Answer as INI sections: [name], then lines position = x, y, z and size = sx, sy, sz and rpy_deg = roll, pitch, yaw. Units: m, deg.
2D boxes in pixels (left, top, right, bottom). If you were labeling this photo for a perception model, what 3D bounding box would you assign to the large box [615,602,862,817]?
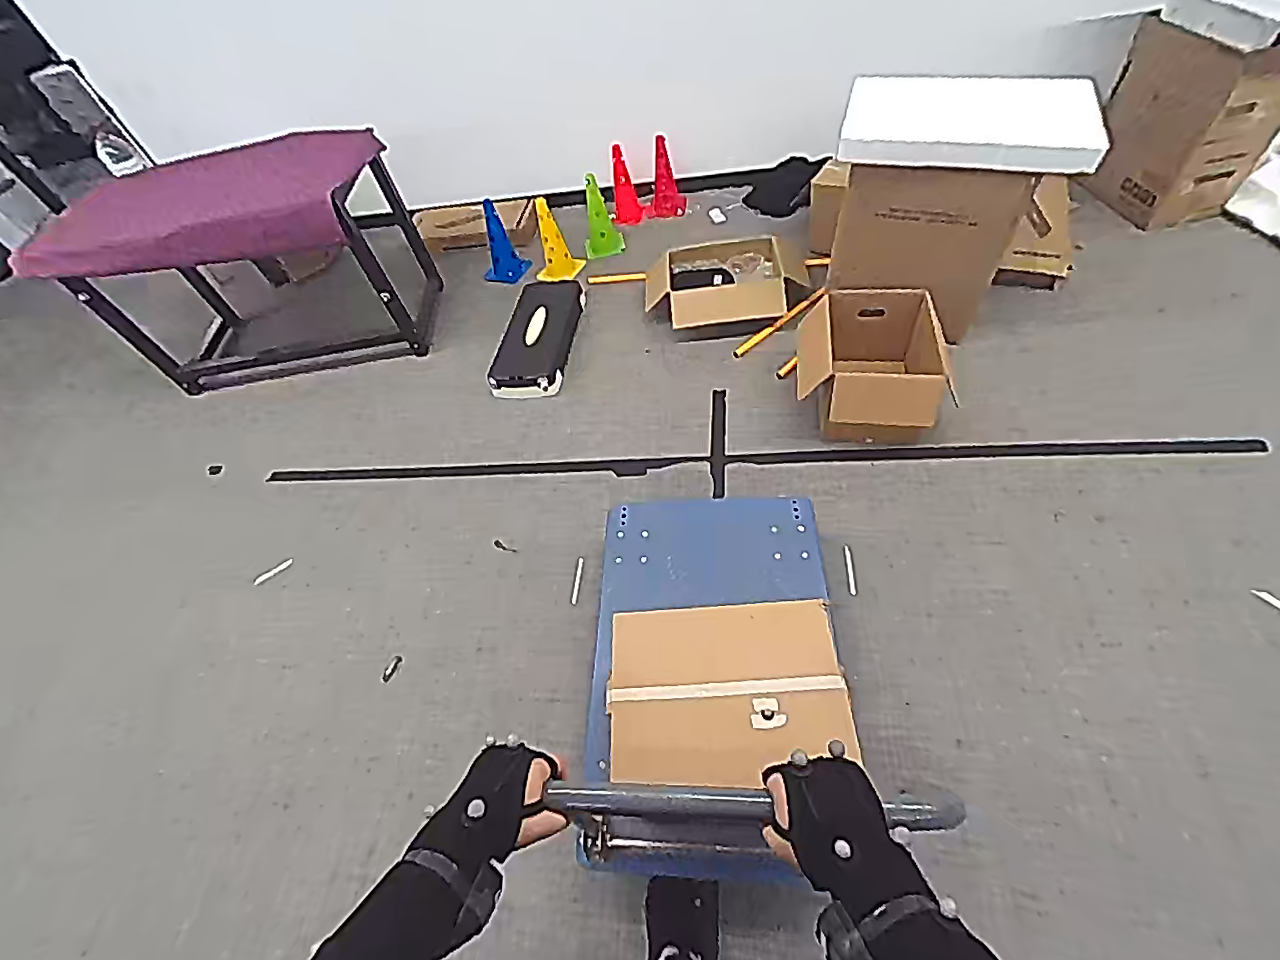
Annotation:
[large box]
position = 0.170, 0.464, 1.074
size = 0.408, 0.320, 0.320
rpy_deg = -5, 53, 5
